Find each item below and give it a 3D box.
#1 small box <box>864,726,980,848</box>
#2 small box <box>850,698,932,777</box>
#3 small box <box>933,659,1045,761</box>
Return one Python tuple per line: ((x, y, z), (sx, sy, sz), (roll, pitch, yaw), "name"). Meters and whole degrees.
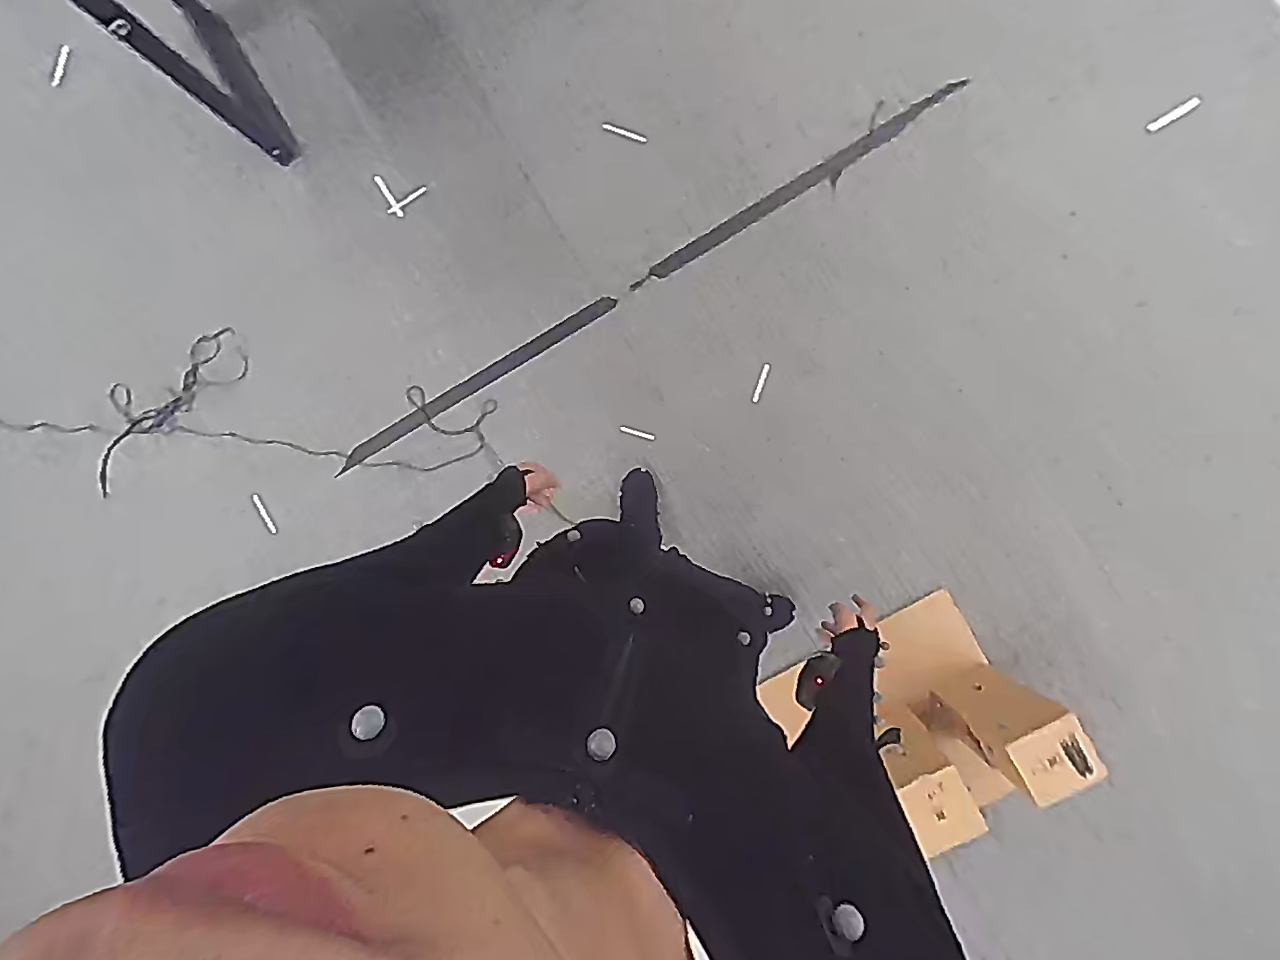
((0.695, 0.758, 1.351), (0.168, 0.176, 0.179), (-27, 89, 4), "small box")
((0.713, 0.748, 1.515), (0.179, 0.176, 0.168), (-28, 89, 4), "small box")
((0.948, 0.627, 1.495), (0.179, 0.176, 0.168), (-29, 89, 3), "small box")
